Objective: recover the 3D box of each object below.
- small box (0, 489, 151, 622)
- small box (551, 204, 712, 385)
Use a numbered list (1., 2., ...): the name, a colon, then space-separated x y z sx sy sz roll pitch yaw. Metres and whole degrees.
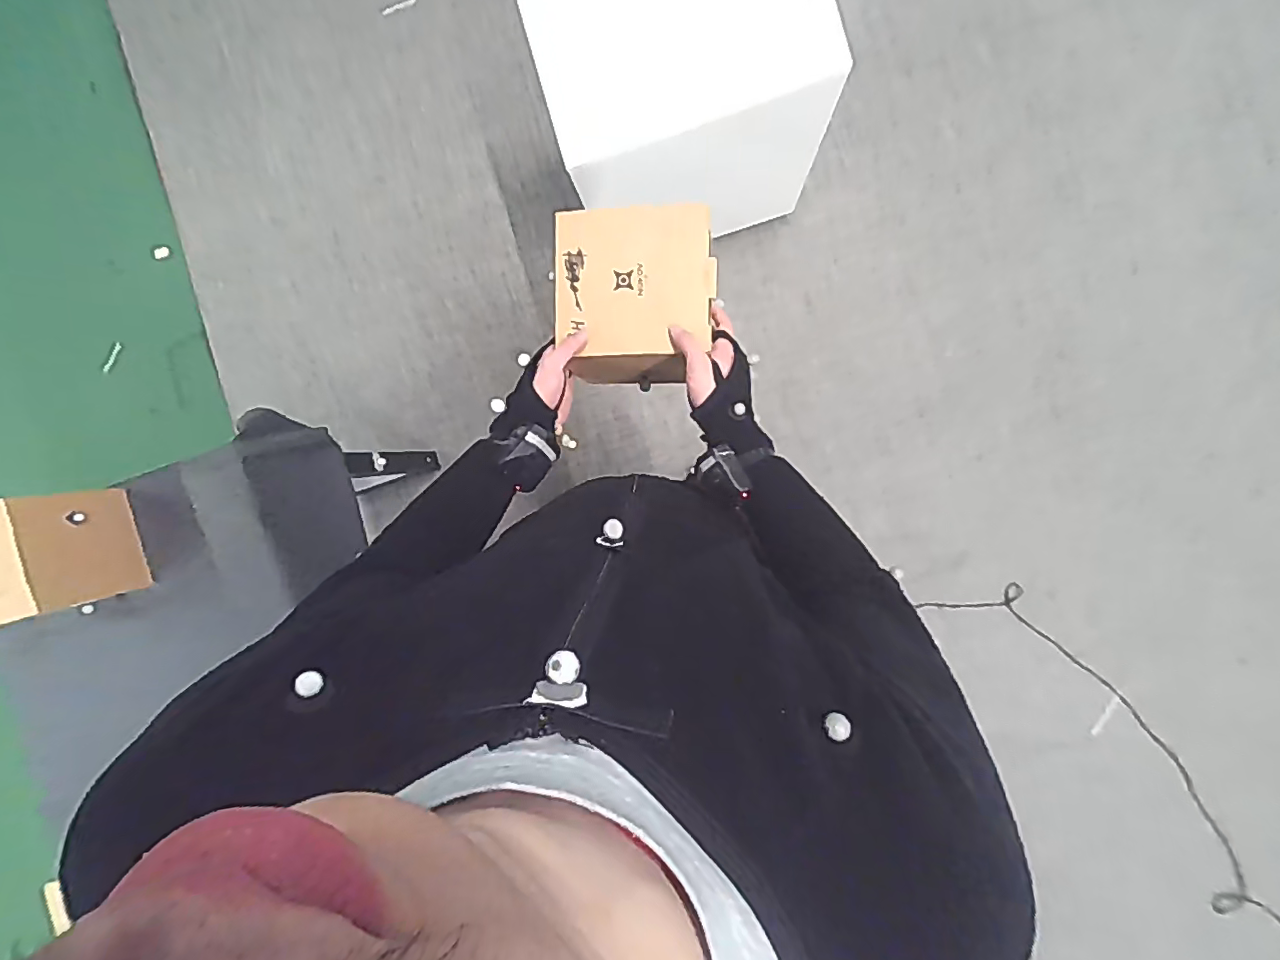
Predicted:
1. small box: -0.943 0.117 0.856 0.168 0.176 0.179 -15 93 8
2. small box: -0.003 -0.216 0.668 0.179 0.176 0.168 1 88 6
